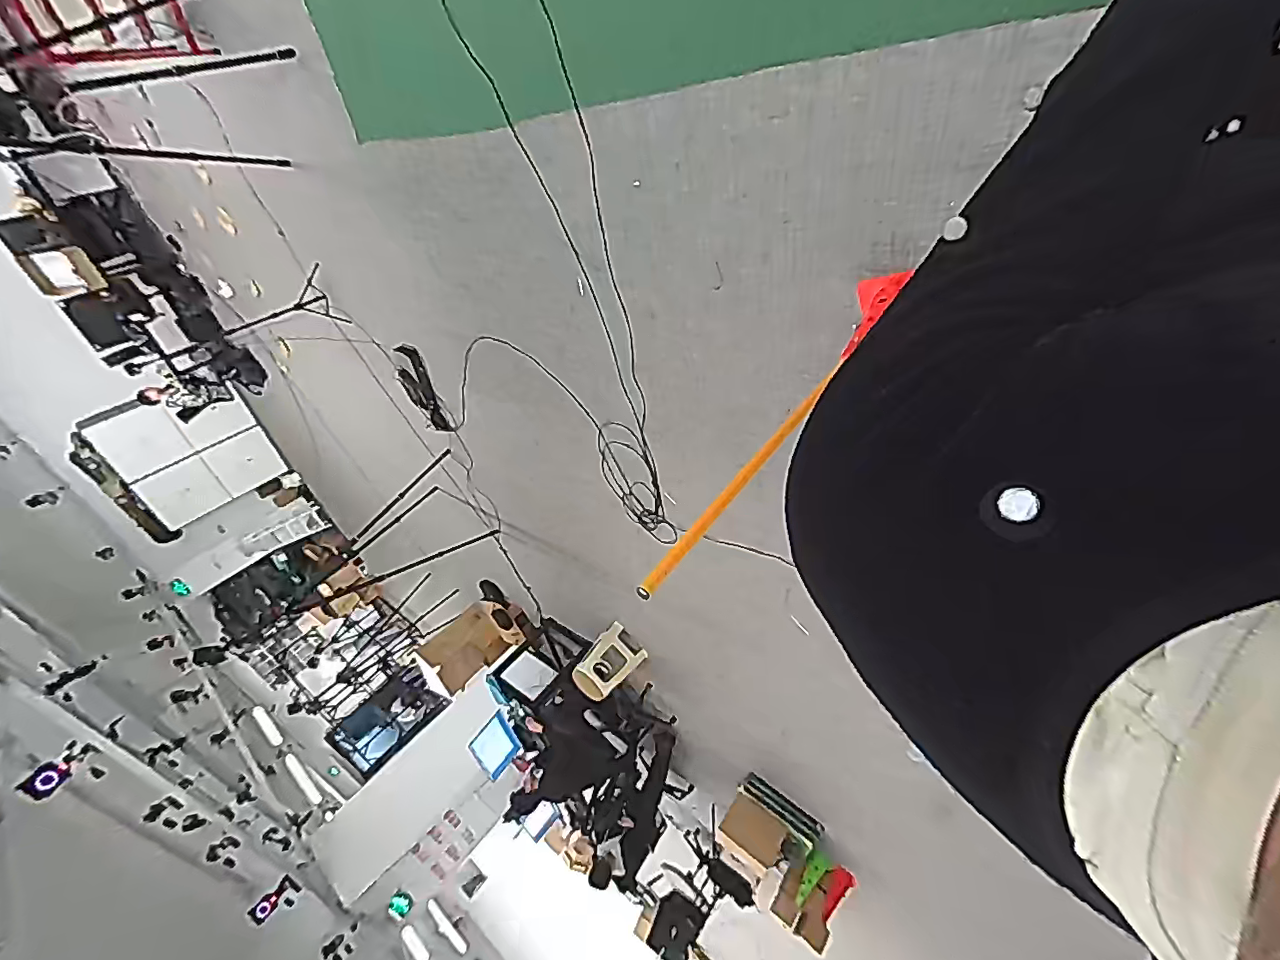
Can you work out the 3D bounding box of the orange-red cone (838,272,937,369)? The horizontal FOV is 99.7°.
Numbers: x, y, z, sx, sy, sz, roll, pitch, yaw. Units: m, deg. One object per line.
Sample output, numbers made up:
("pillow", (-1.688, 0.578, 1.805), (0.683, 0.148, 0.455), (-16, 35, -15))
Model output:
("orange-red cone", (0.618, -0.385, 1.433), (0.199, 0.360, 0.198), (6, 127, 47))
